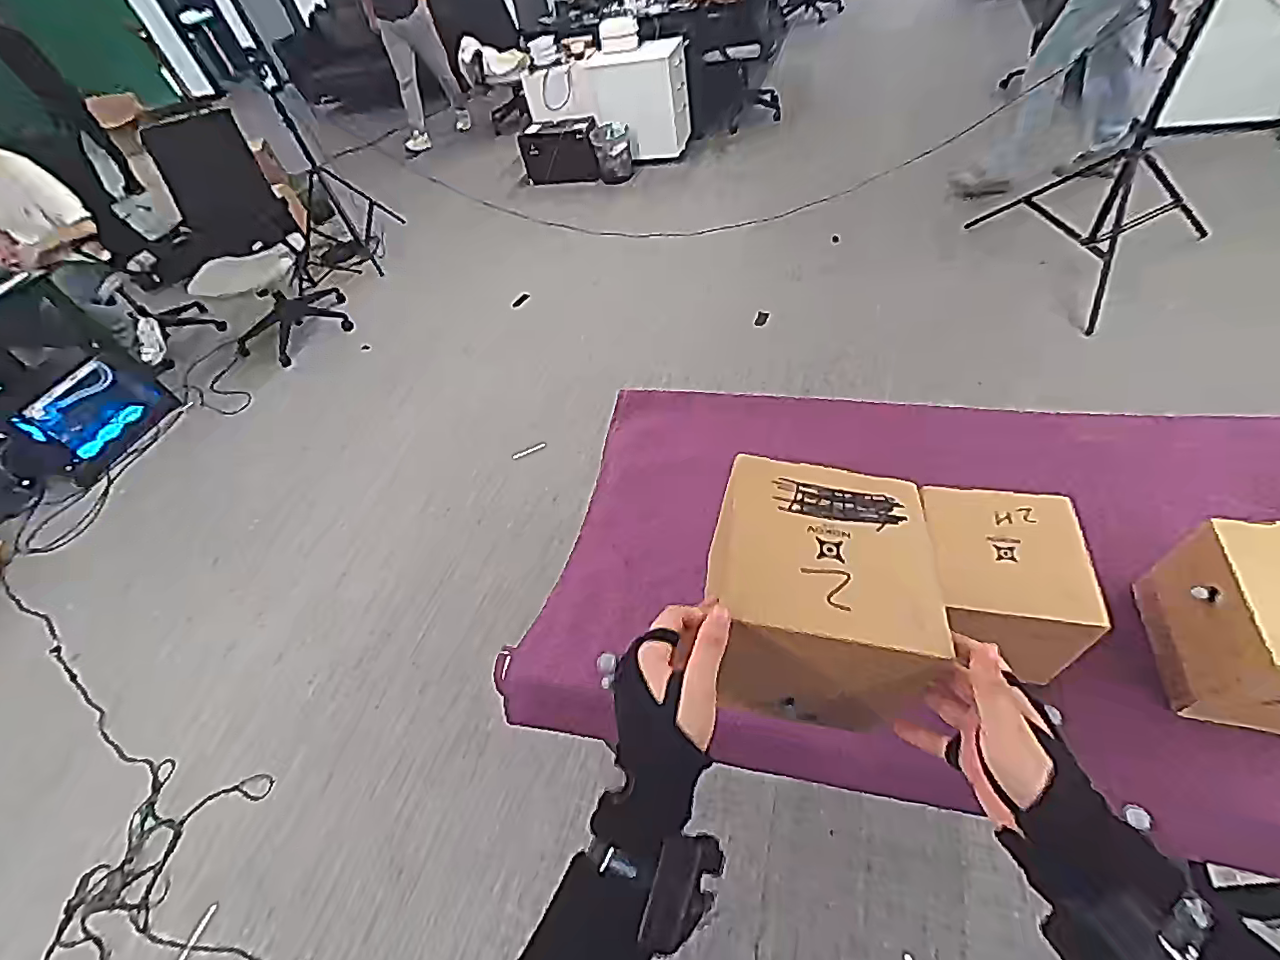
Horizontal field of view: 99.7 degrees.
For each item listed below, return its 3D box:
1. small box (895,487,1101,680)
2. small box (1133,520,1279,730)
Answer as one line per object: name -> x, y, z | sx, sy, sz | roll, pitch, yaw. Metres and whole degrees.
small box -> 0.434, 0.134, 0.691 | 0.168, 0.176, 0.179 | 6, 51, 15
small box -> 0.710, 0.170, 0.604 | 0.168, 0.176, 0.179 | 5, 52, 16
